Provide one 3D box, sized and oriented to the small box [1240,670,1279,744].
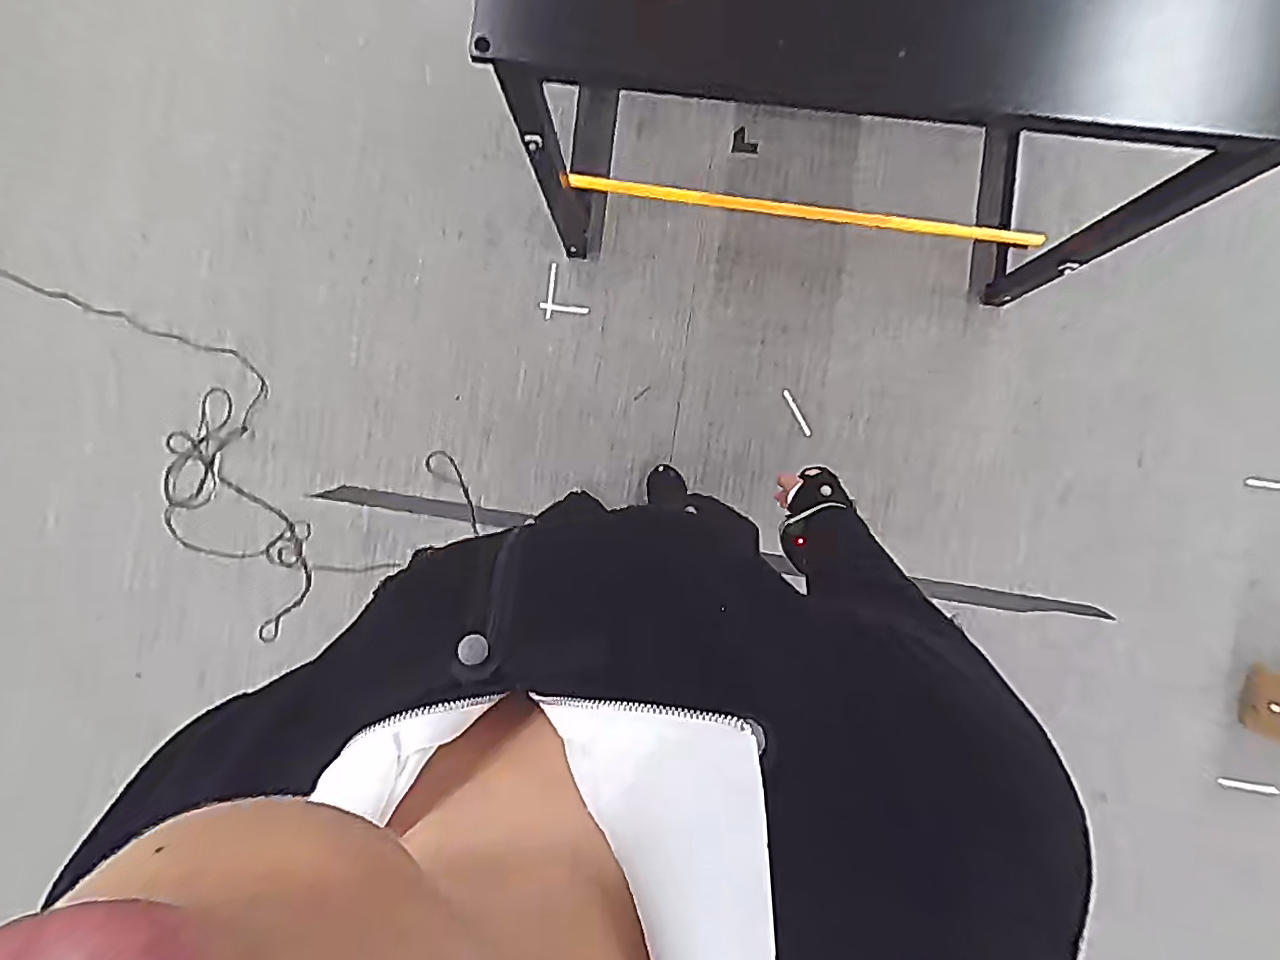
[{"bbox_3d":[1.687,0.594,1.358,0.179,0.176,0.168,9,91,3],"label":"small box"}]
